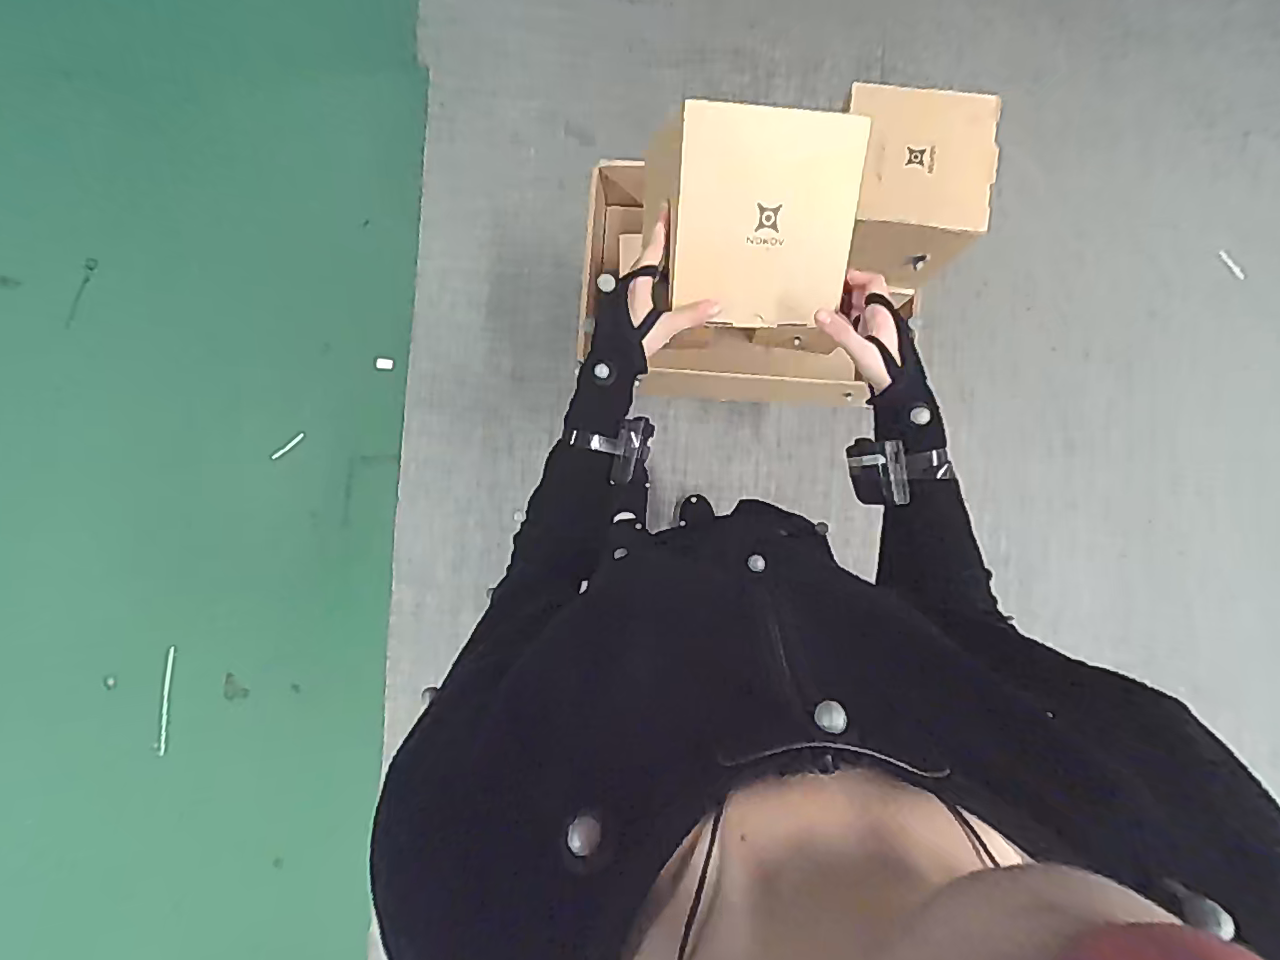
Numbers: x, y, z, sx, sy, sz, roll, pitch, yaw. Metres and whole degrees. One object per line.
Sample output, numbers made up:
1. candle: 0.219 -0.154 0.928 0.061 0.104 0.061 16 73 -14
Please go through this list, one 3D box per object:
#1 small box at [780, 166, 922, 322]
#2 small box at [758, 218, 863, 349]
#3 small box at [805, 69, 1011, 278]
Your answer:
1. small box: 0.330 -0.362 0.856 0.179 0.176 0.168 8 89 3
2. small box: 0.326 -0.360 1.020 0.168 0.176 0.179 10 89 3
3. small box: 0.328 -0.376 0.693 0.179 0.176 0.168 8 88 4
